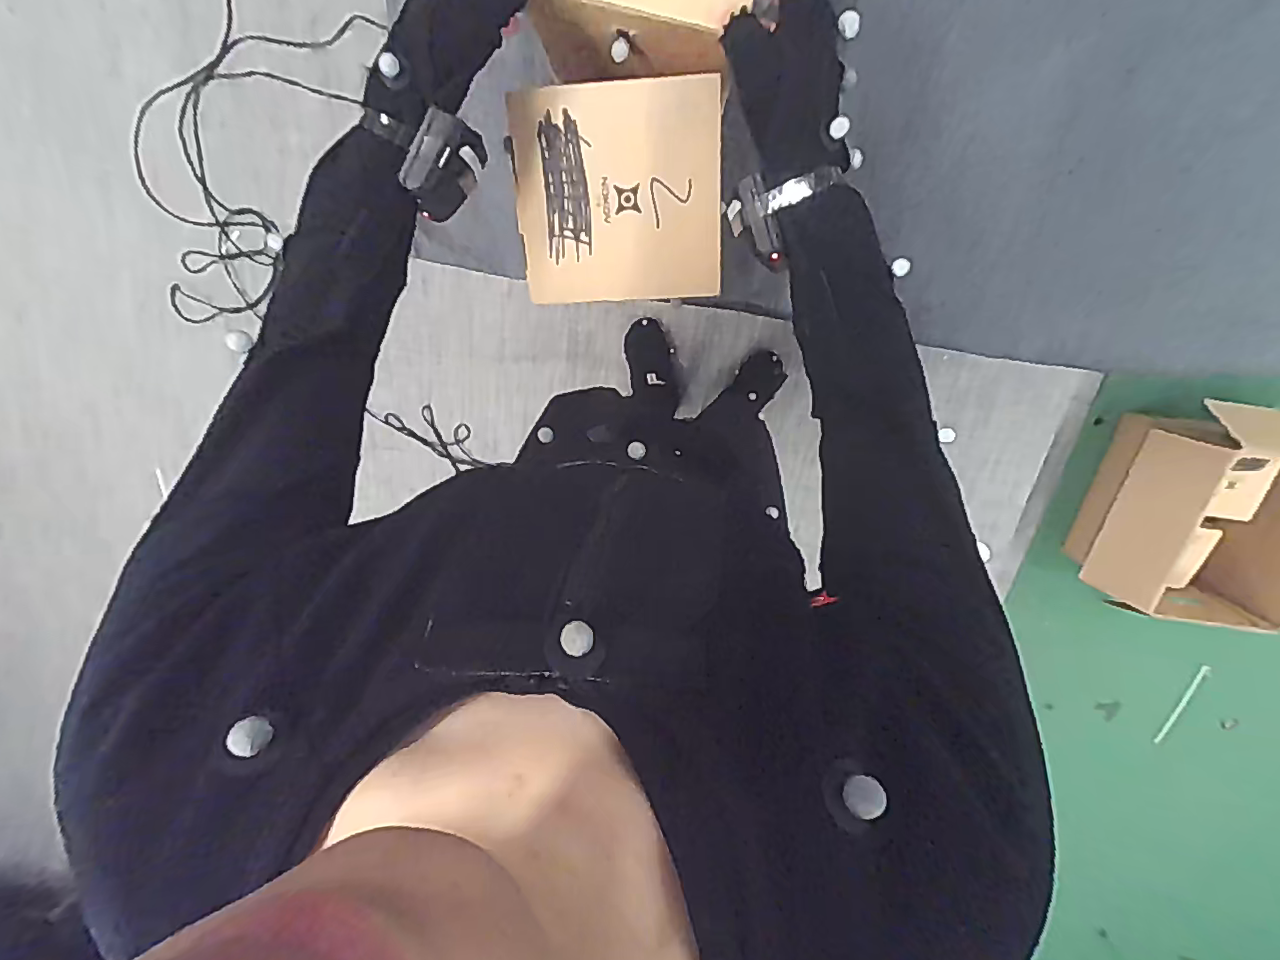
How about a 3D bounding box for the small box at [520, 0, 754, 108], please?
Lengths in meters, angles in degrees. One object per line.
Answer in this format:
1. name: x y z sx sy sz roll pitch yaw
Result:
1. small box: 0.011 -0.439 0.445 0.179 0.176 0.168 12 106 0
